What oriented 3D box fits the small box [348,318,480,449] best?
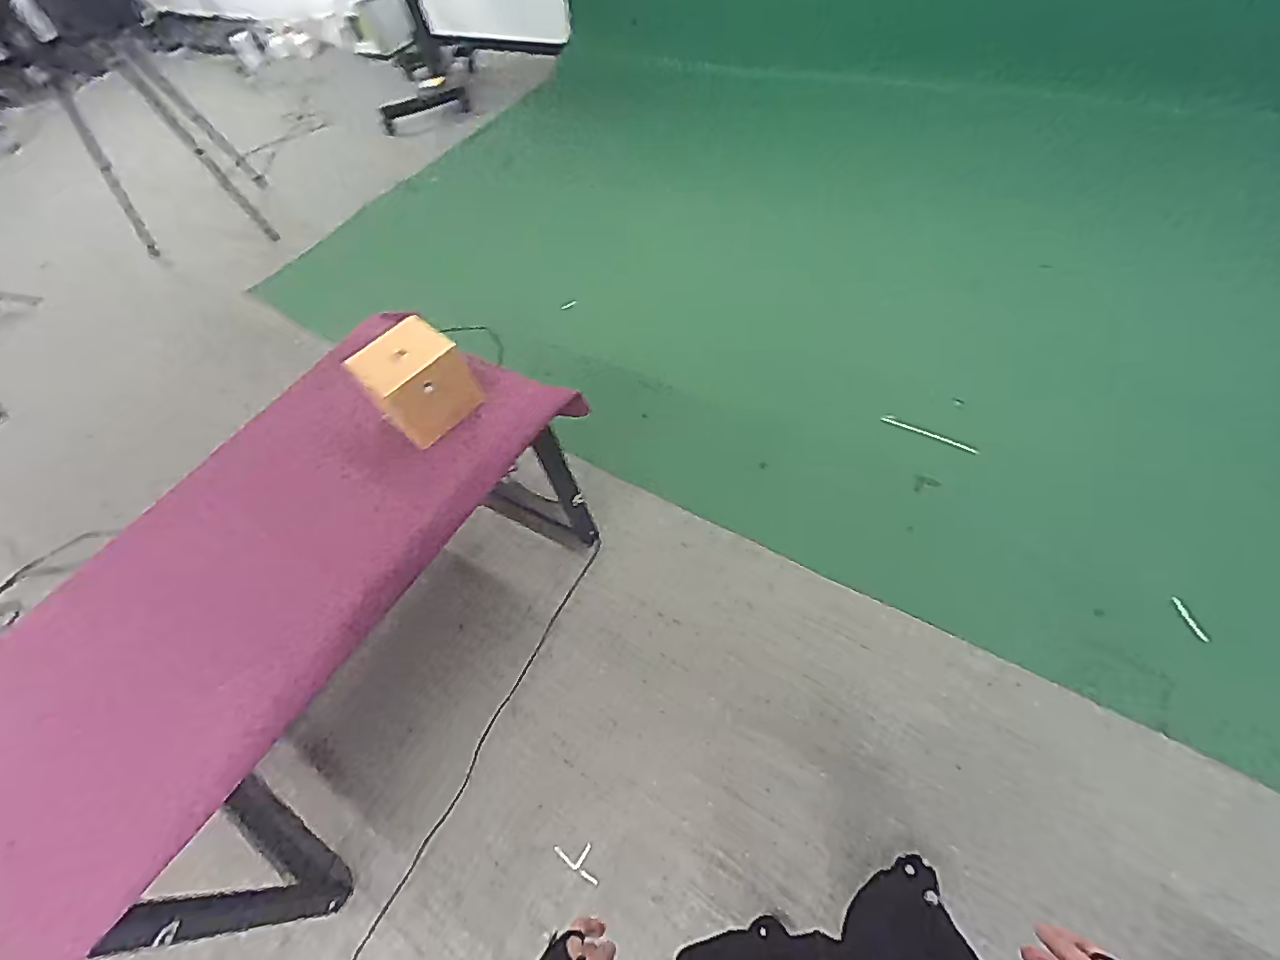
[{"bbox_3d":[-0.467,-0.203,1.153,0.168,0.176,0.179,35,69,27],"label":"small box"}]
